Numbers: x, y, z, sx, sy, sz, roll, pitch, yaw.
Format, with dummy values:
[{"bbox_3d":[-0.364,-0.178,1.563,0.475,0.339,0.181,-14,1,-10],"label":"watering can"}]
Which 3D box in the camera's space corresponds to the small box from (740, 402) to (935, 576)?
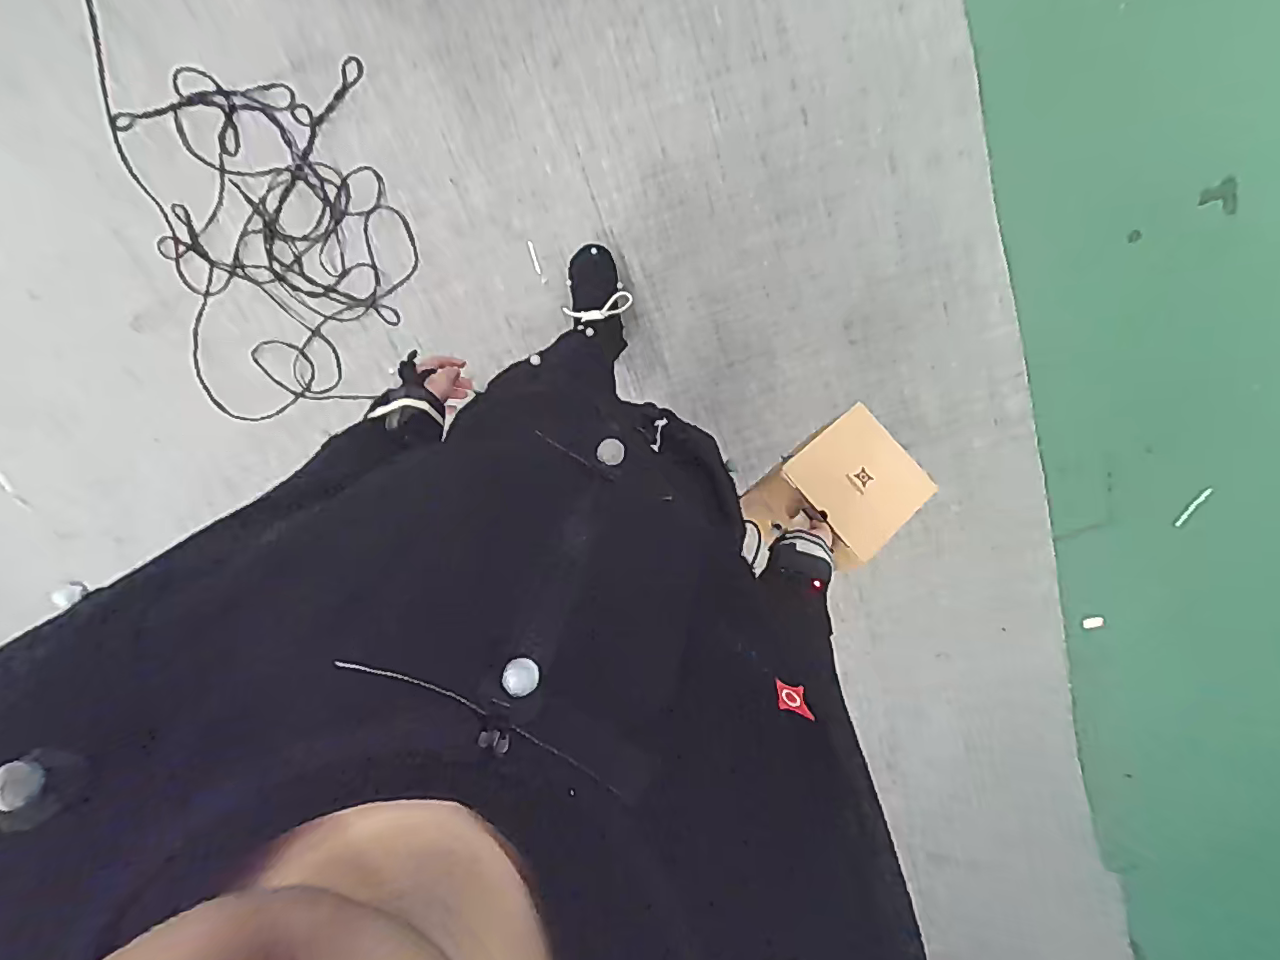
[{"bbox_3d":[0.280,0.020,0.801,0.179,0.176,0.168,-38,84,-20],"label":"small box"}]
